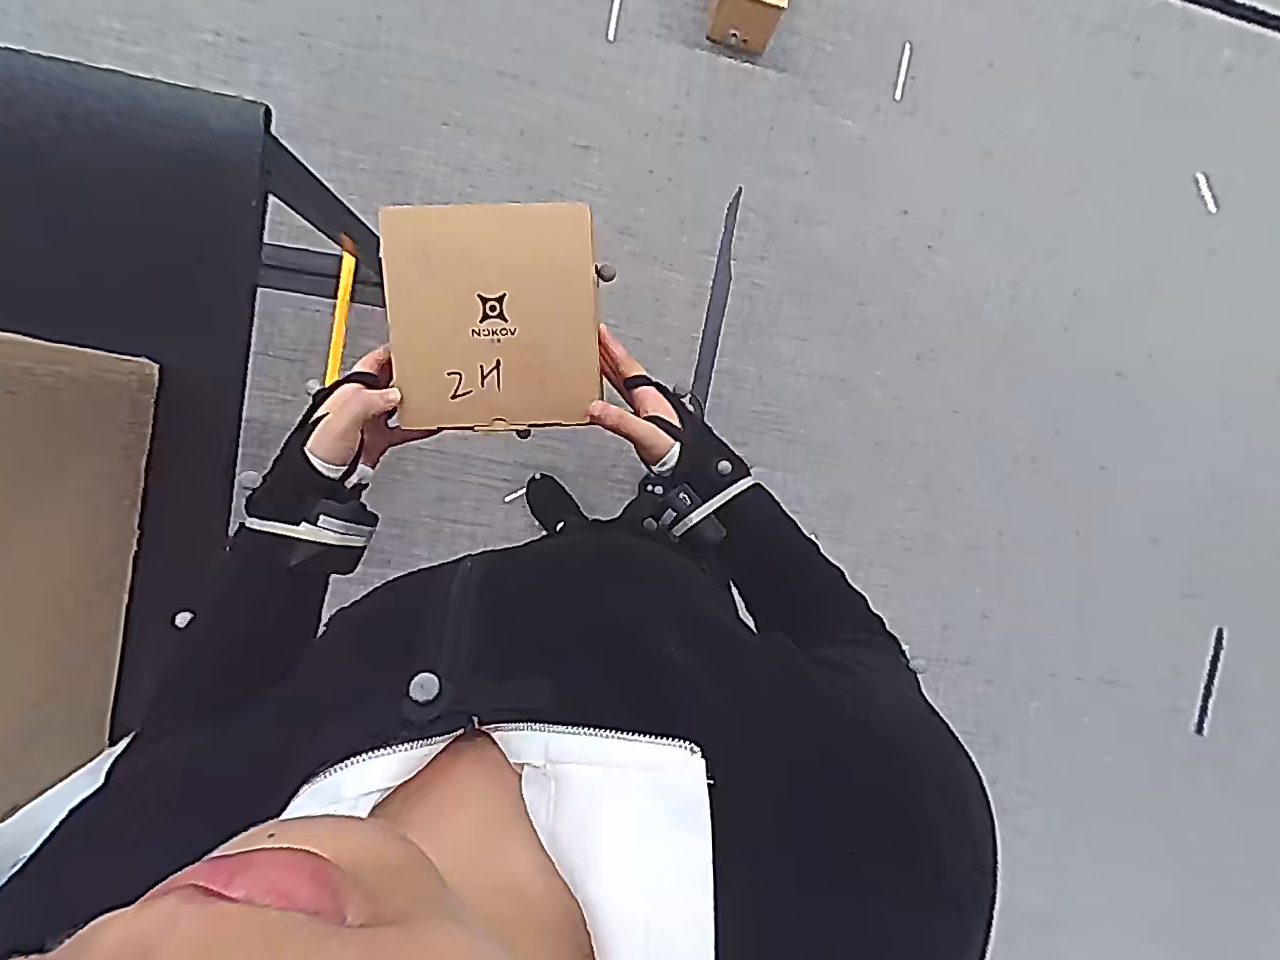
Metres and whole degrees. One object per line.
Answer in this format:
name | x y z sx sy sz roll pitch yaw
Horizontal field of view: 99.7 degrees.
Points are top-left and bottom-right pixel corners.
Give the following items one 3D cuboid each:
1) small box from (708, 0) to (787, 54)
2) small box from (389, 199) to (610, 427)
small box | 0.275 -1.229 1.354 0.168 0.176 0.179 10 95 -6
small box | -0.114 -0.140 0.507 0.168 0.176 0.179 -1 98 -1
